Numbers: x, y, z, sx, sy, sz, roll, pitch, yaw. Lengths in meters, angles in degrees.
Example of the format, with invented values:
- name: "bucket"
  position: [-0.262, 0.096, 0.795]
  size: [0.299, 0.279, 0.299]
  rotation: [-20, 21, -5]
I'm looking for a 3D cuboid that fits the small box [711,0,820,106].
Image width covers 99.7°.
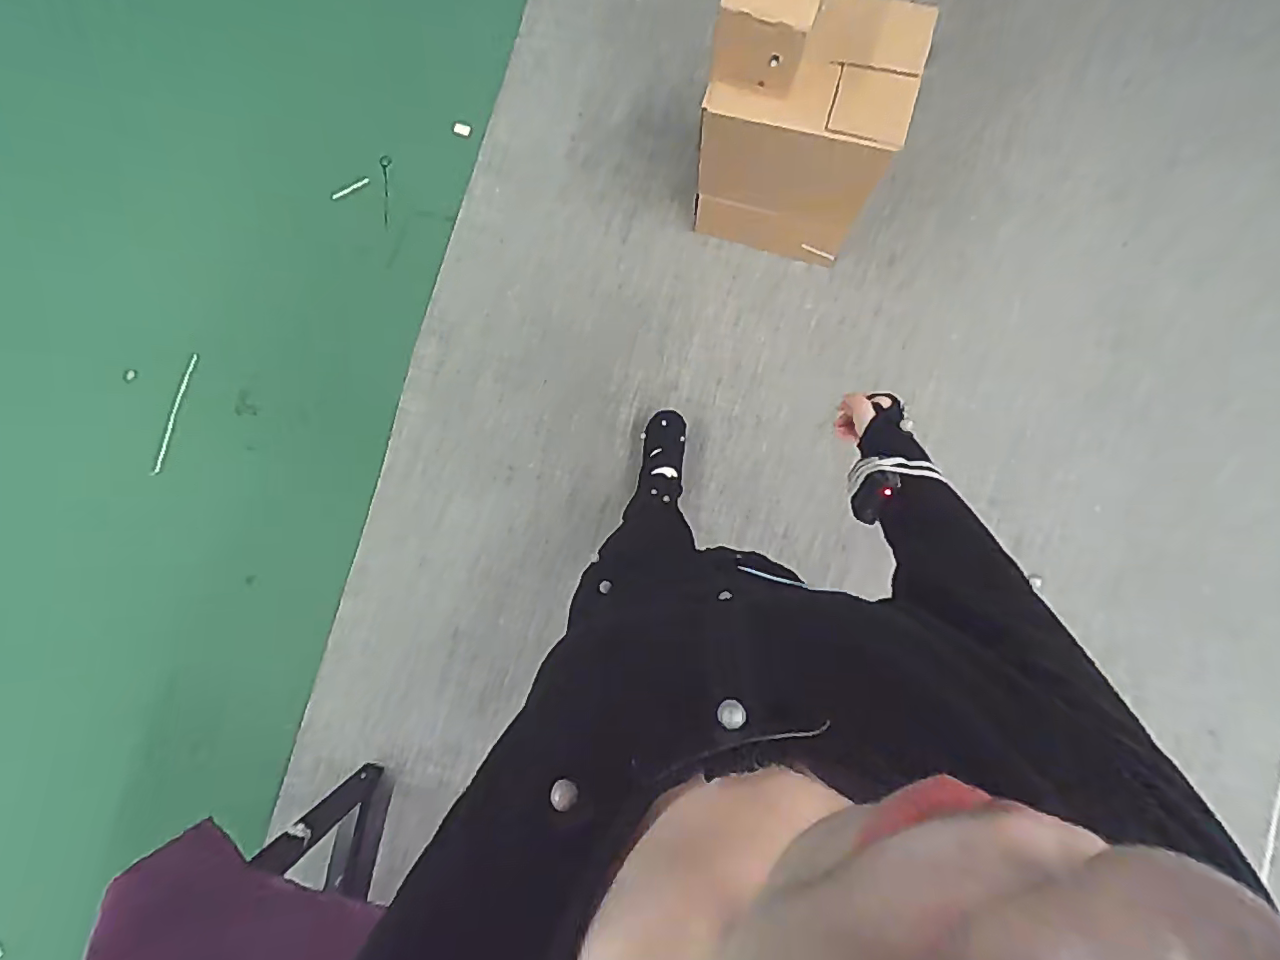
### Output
- name: "small box"
  position: [0.236, -0.852, 1.011]
  size: [0.168, 0.176, 0.179]
  rotation: [17, 88, 2]
